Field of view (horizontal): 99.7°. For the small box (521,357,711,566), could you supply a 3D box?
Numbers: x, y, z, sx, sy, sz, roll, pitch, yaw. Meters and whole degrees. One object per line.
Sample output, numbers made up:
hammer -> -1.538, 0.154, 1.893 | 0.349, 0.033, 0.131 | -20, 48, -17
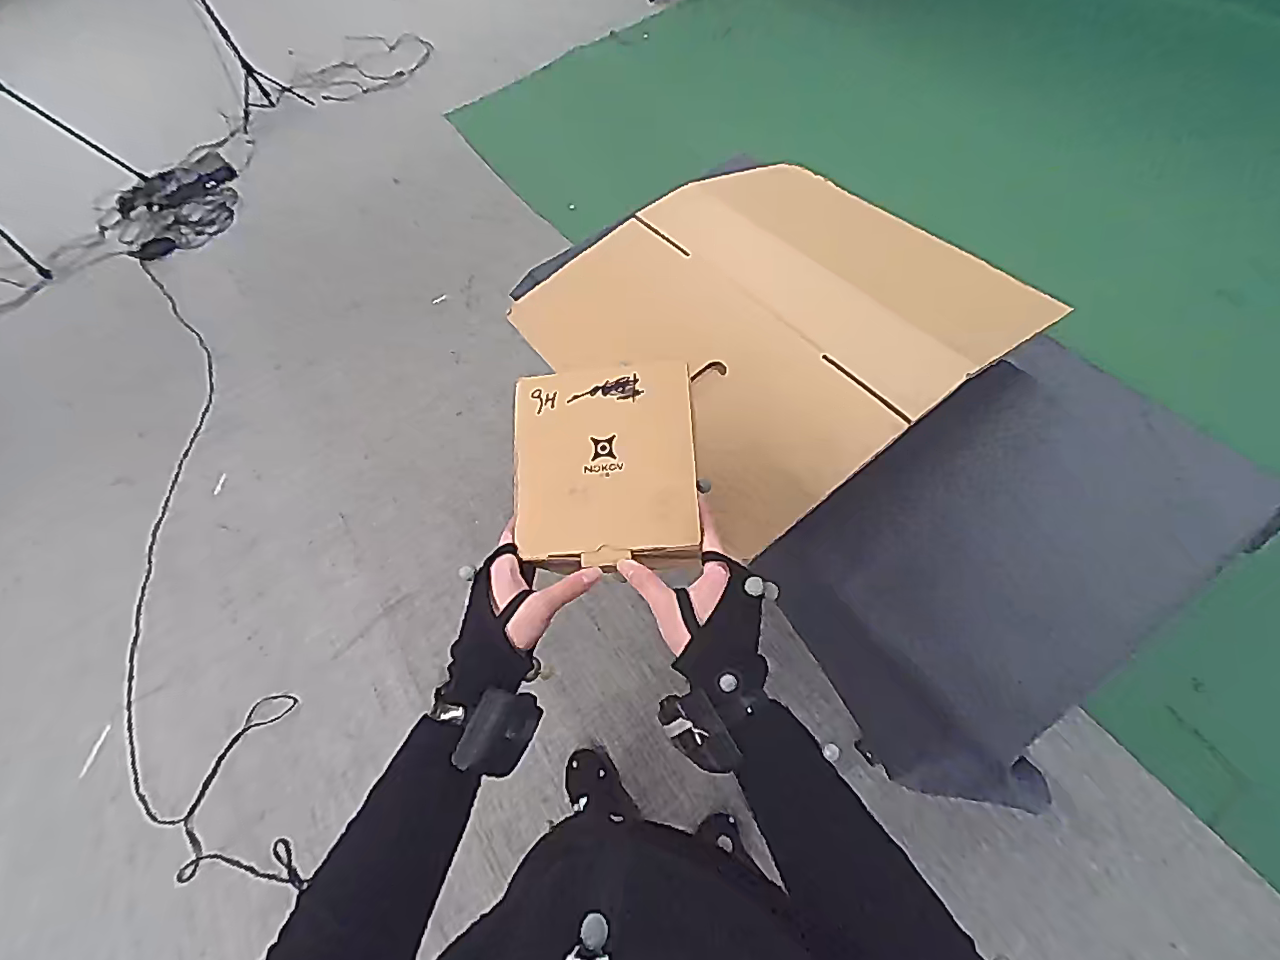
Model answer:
small box -> -0.017, -0.004, 0.573 | 0.168, 0.176, 0.179 | -7, 74, 7
